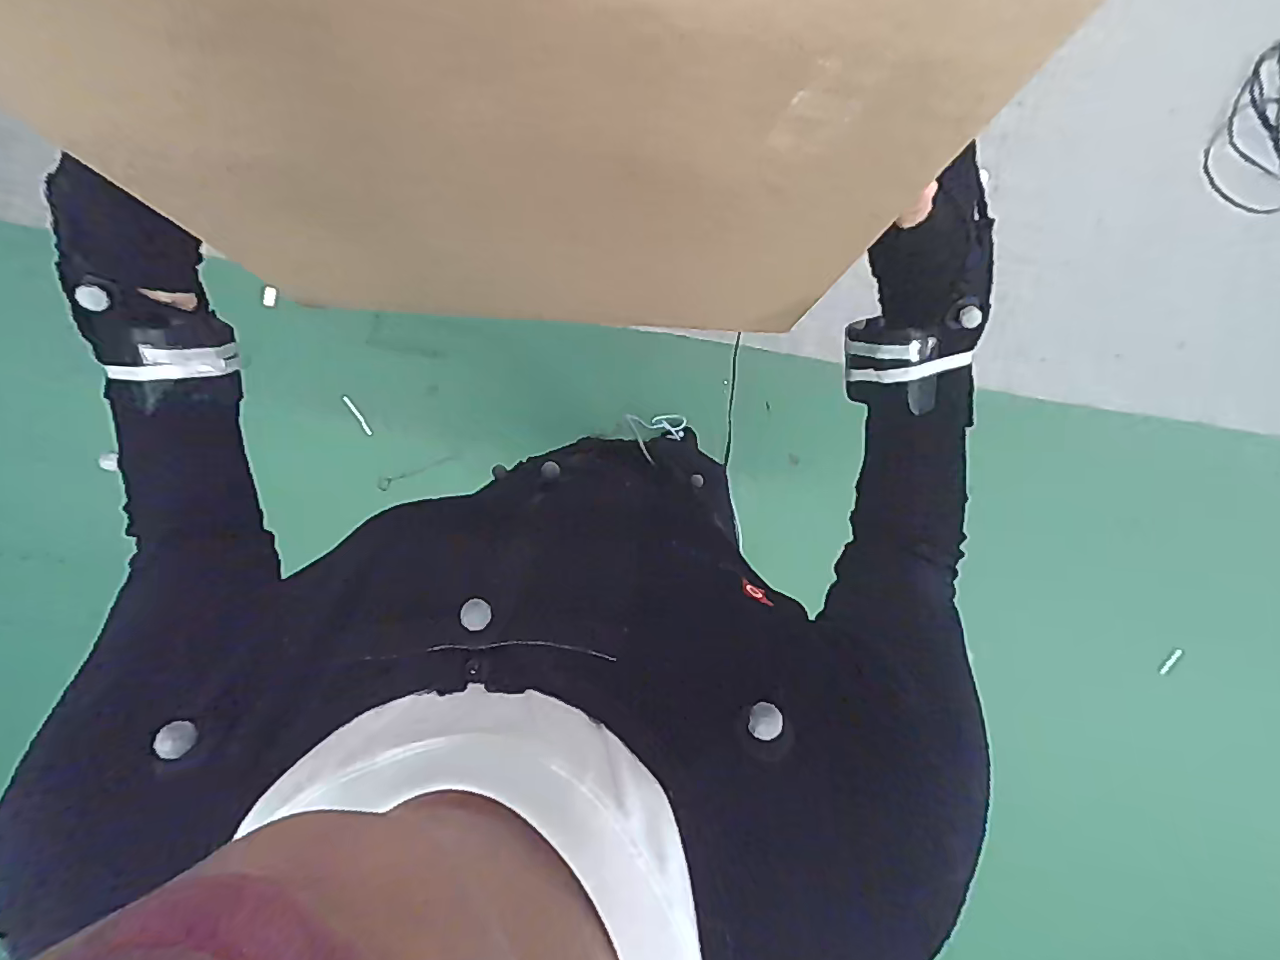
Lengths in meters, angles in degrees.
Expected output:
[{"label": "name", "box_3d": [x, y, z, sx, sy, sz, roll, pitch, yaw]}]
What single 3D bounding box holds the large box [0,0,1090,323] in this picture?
[{"label": "large box", "box_3d": [-0.055, -0.299, 0.311, 0.408, 0.320, 0.320, 3, 87, -4]}]
